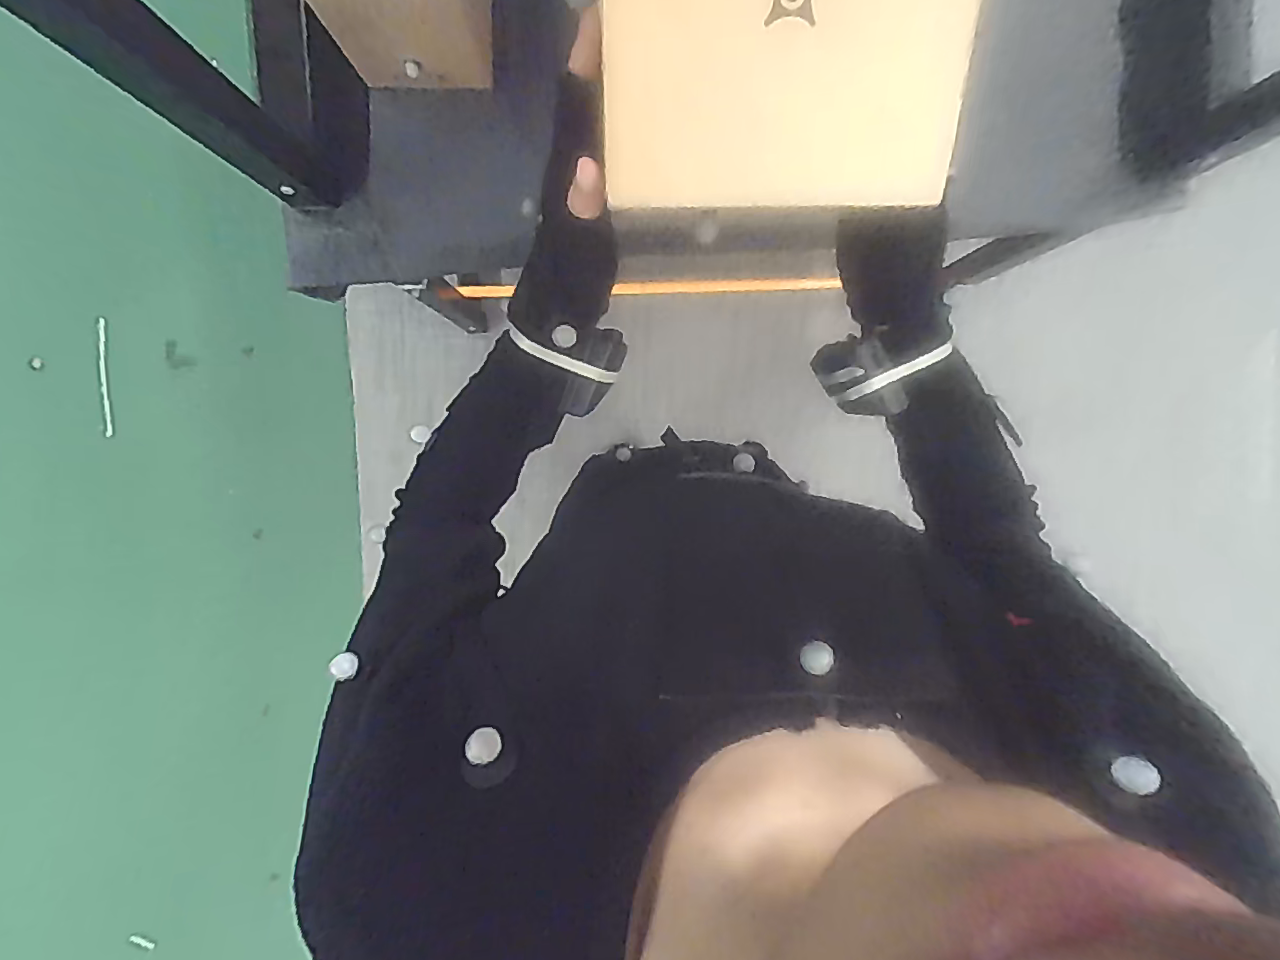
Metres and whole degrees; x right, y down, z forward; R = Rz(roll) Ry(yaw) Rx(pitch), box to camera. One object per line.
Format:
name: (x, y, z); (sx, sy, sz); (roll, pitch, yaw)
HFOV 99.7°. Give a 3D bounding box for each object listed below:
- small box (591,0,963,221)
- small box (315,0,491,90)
small box: (0.057, -0.246, 0.308); (0.168, 0.176, 0.179); (-3, 113, -2)
small box: (-0.276, -0.596, 0.625); (0.168, 0.176, 0.179); (-1, 95, -1)
